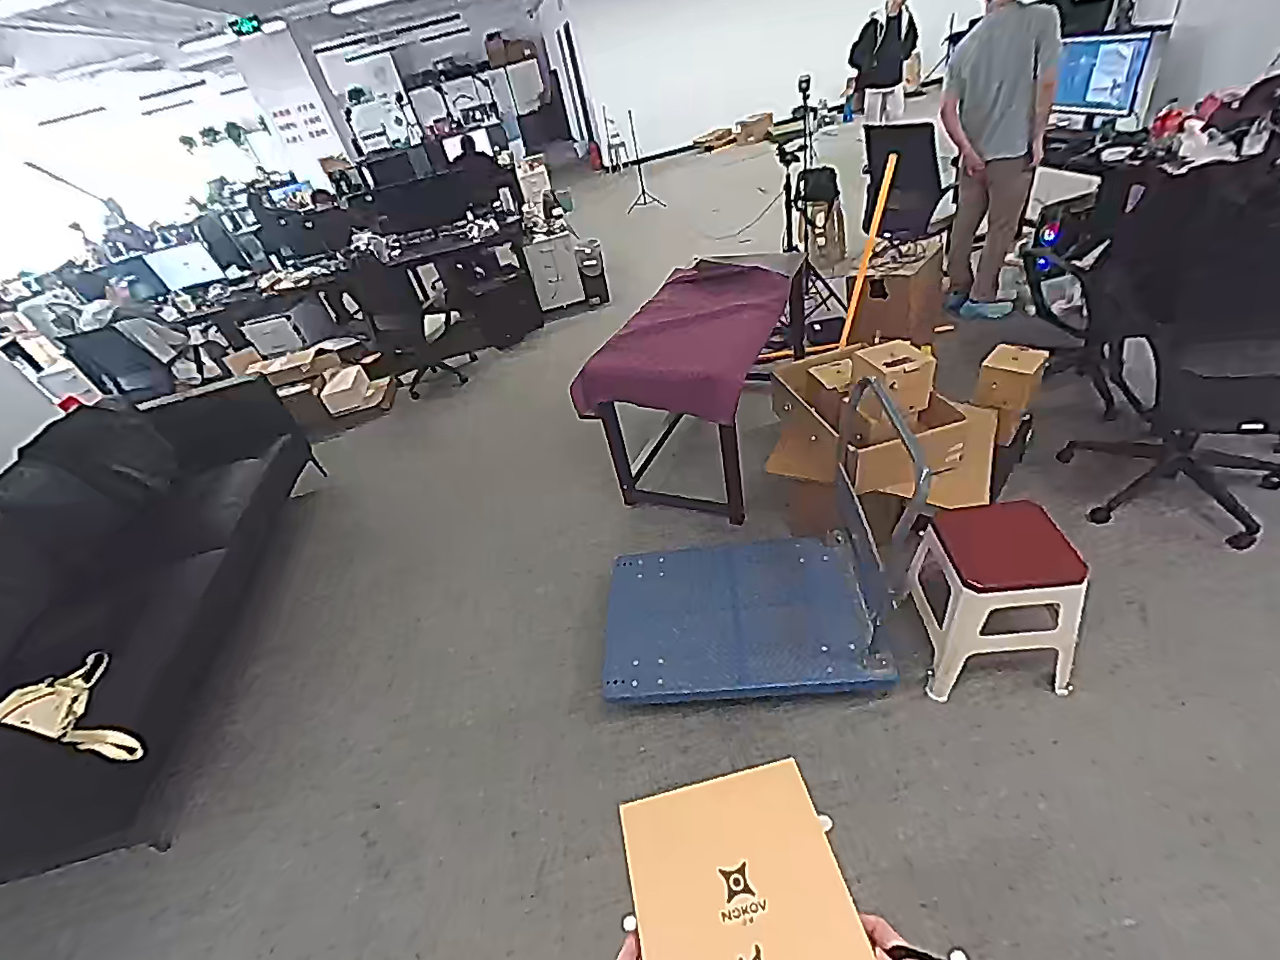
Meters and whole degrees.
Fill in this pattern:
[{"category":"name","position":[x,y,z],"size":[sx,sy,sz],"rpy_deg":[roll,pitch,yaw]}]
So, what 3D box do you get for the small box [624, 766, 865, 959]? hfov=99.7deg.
[{"category":"small box","position":[0.087,0.393,0.480],"size":[0.168,0.176,0.179],"rpy_deg":[-13,40,-2]}]
